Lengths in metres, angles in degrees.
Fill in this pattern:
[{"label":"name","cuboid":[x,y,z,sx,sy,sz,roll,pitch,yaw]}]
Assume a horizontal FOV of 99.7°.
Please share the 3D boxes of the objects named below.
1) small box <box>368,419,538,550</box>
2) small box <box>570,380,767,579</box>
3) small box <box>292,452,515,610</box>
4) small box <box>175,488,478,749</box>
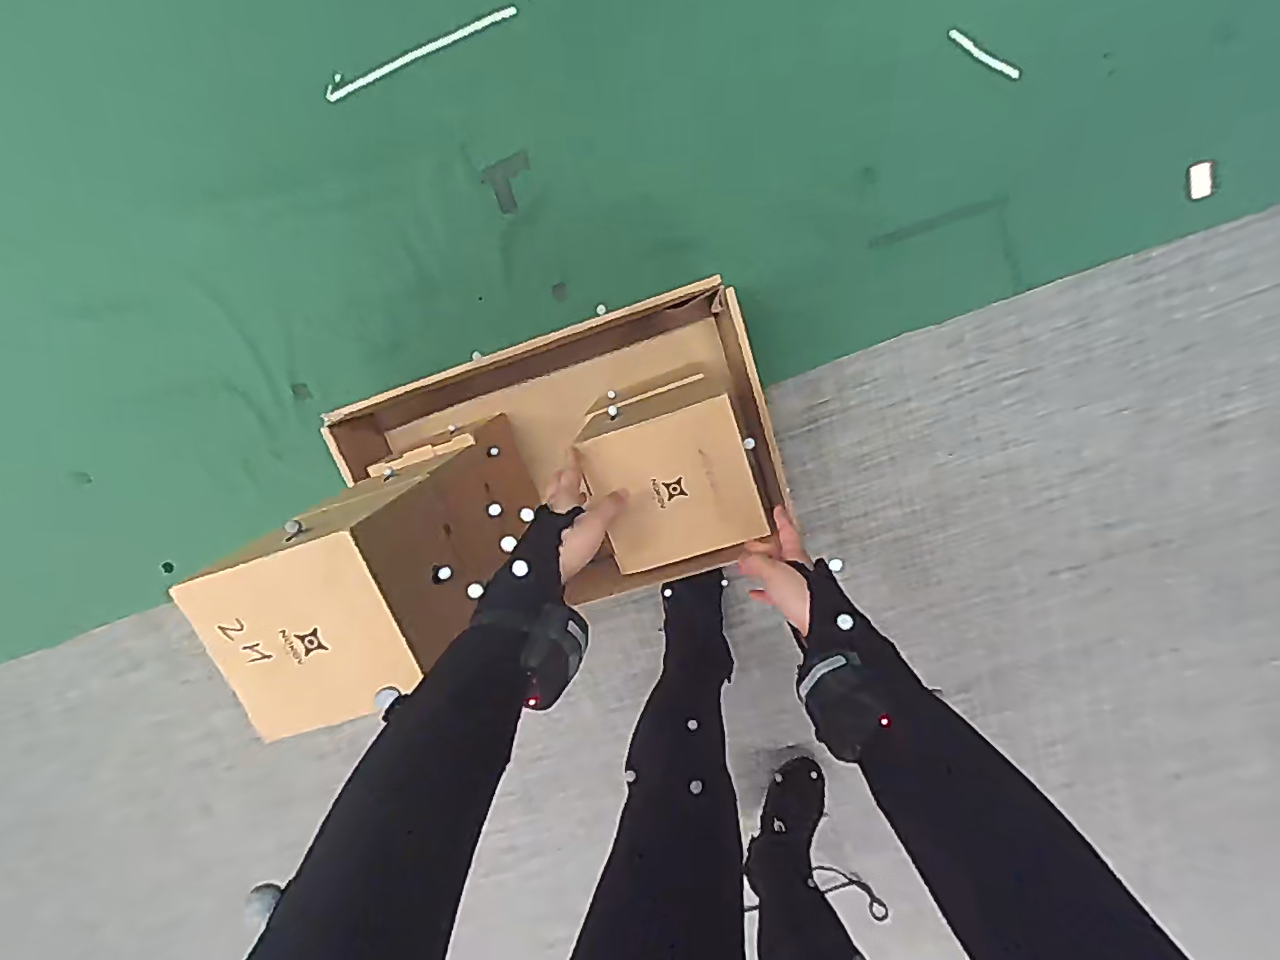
[{"label":"small box","cuboid":[-0.278,0.021,0.852,0.168,0.176,0.179,-18,105,7]},{"label":"small box","cuboid":[0.038,-0.010,0.657,0.179,0.176,0.168,-19,107,9]},{"label":"small box","cuboid":[-0.286,0.078,0.698,0.179,0.176,0.168,-18,106,6]},{"label":"small box","cuboid":[-0.282,0.124,0.539,0.179,0.176,0.168,-18,105,7]}]
